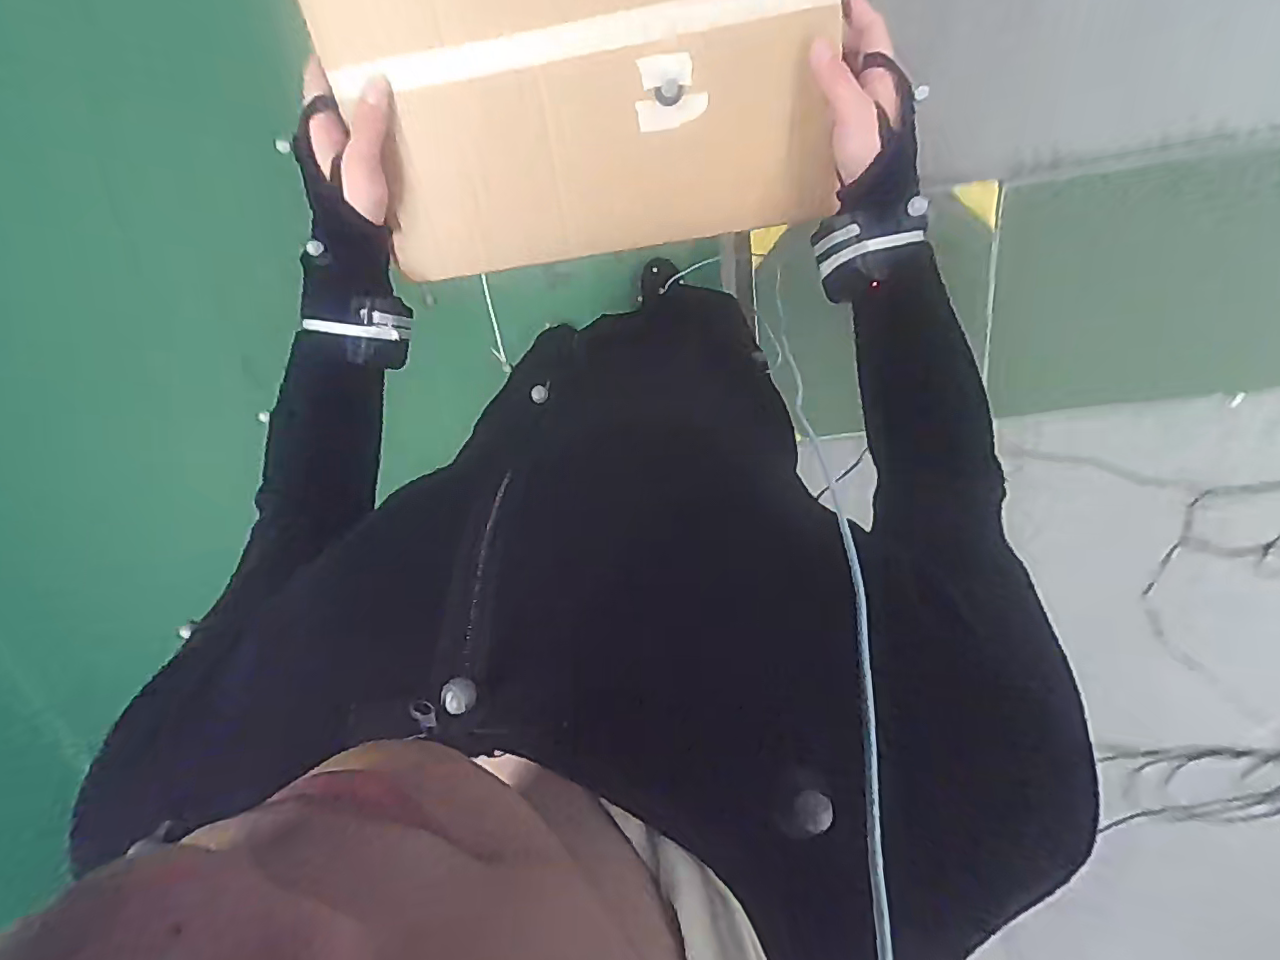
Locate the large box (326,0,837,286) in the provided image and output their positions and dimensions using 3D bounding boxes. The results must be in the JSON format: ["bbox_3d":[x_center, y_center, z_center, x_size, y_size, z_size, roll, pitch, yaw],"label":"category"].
[{"bbox_3d":[-0.043,-0.416,0.569,0.408,0.320,0.320,-7,120,3],"label":"large box"}]
